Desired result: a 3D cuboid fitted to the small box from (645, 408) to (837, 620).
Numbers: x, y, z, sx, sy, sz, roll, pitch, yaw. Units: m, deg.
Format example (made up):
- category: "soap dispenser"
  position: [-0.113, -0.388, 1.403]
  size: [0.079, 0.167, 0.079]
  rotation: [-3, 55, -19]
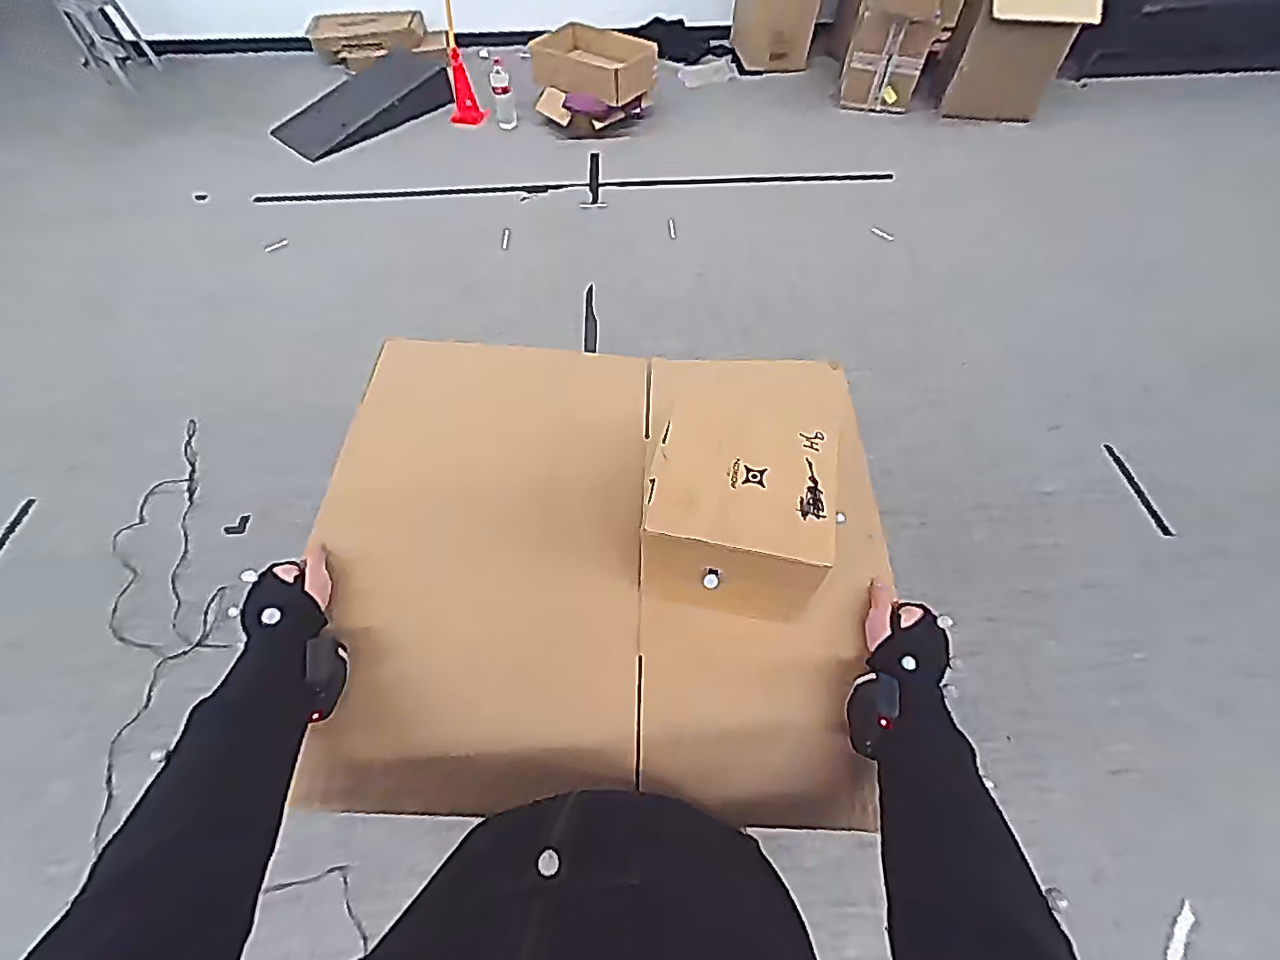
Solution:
- category: "small box"
  position: [0.110, 0.043, 0.608]
  size: [0.179, 0.176, 0.168]
  rotation: [9, 58, 9]
